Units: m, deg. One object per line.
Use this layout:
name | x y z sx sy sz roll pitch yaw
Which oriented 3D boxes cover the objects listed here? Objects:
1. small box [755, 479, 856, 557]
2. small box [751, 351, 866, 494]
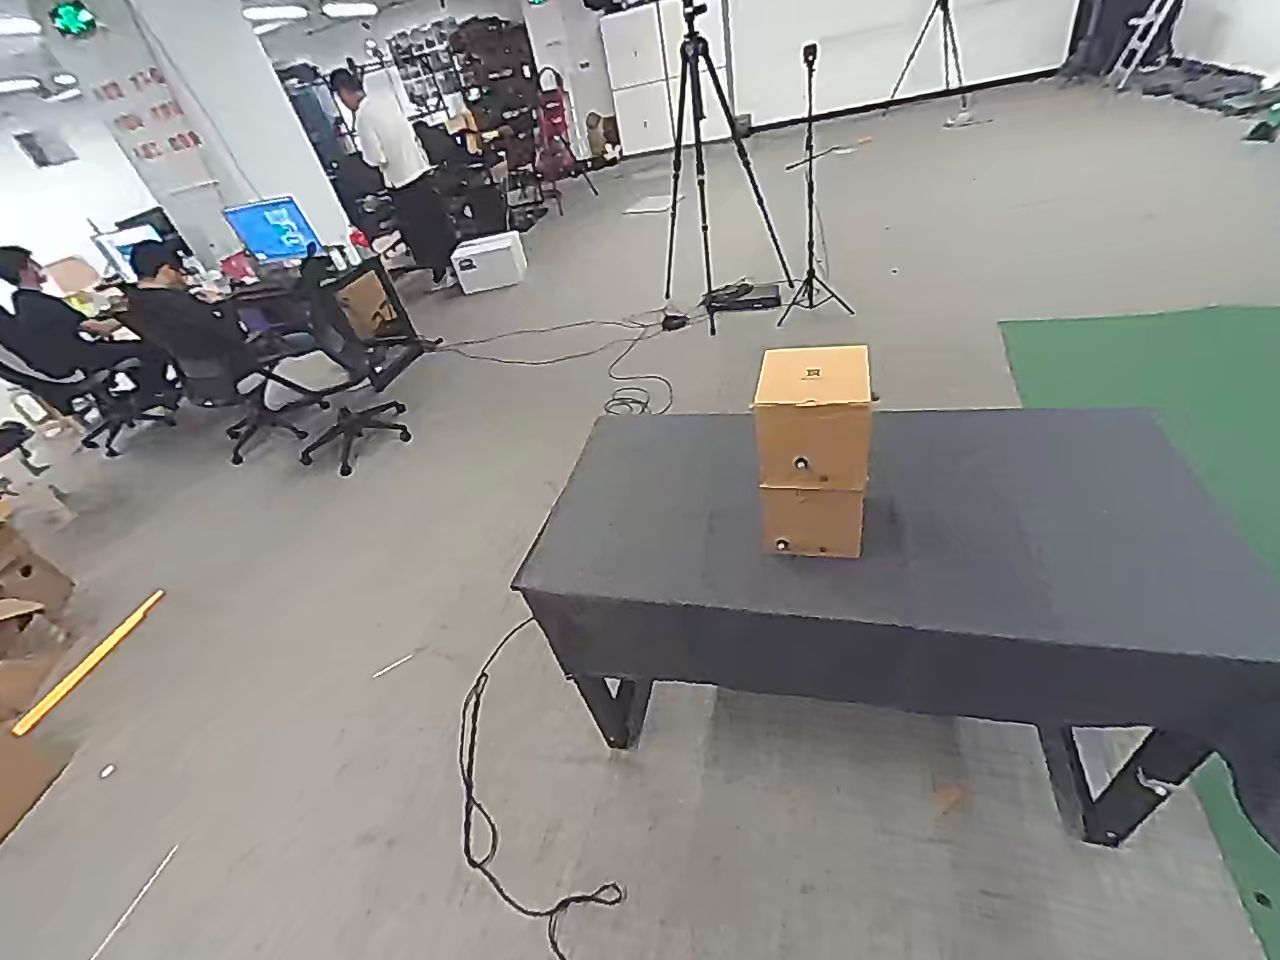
small box | 0.312 0.025 1.005 0.168 0.176 0.179 1 40 19
small box | 0.281 -0.099 0.904 0.168 0.176 0.179 1 41 19
